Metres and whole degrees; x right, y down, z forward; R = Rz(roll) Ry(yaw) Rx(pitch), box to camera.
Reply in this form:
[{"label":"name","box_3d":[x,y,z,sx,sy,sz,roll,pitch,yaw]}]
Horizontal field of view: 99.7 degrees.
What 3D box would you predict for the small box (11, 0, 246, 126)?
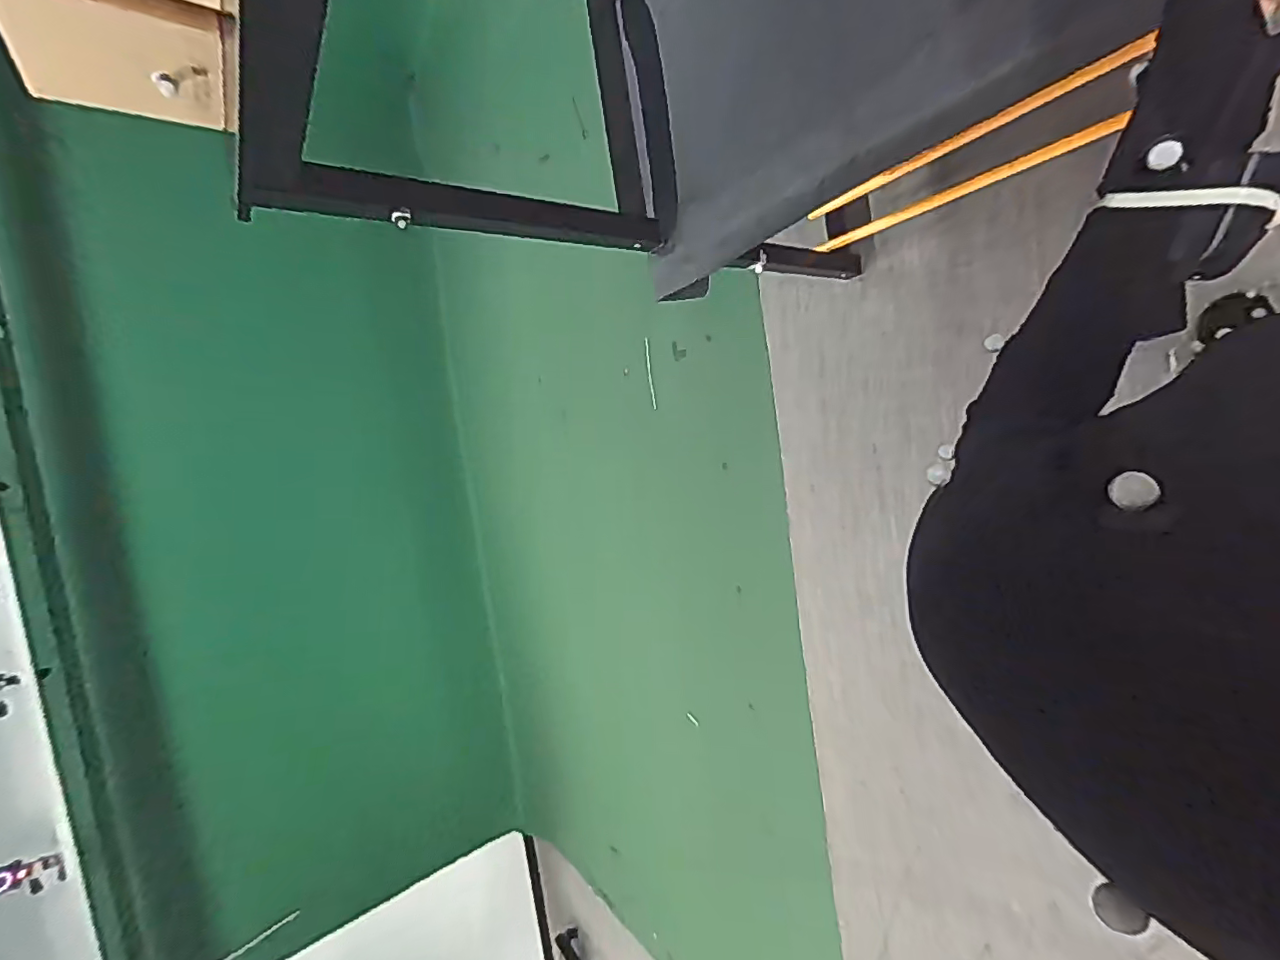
[{"label":"small box","box_3d":[-0.529,-0.510,0.558,0.168,0.176,0.179,-6,96,54]}]
